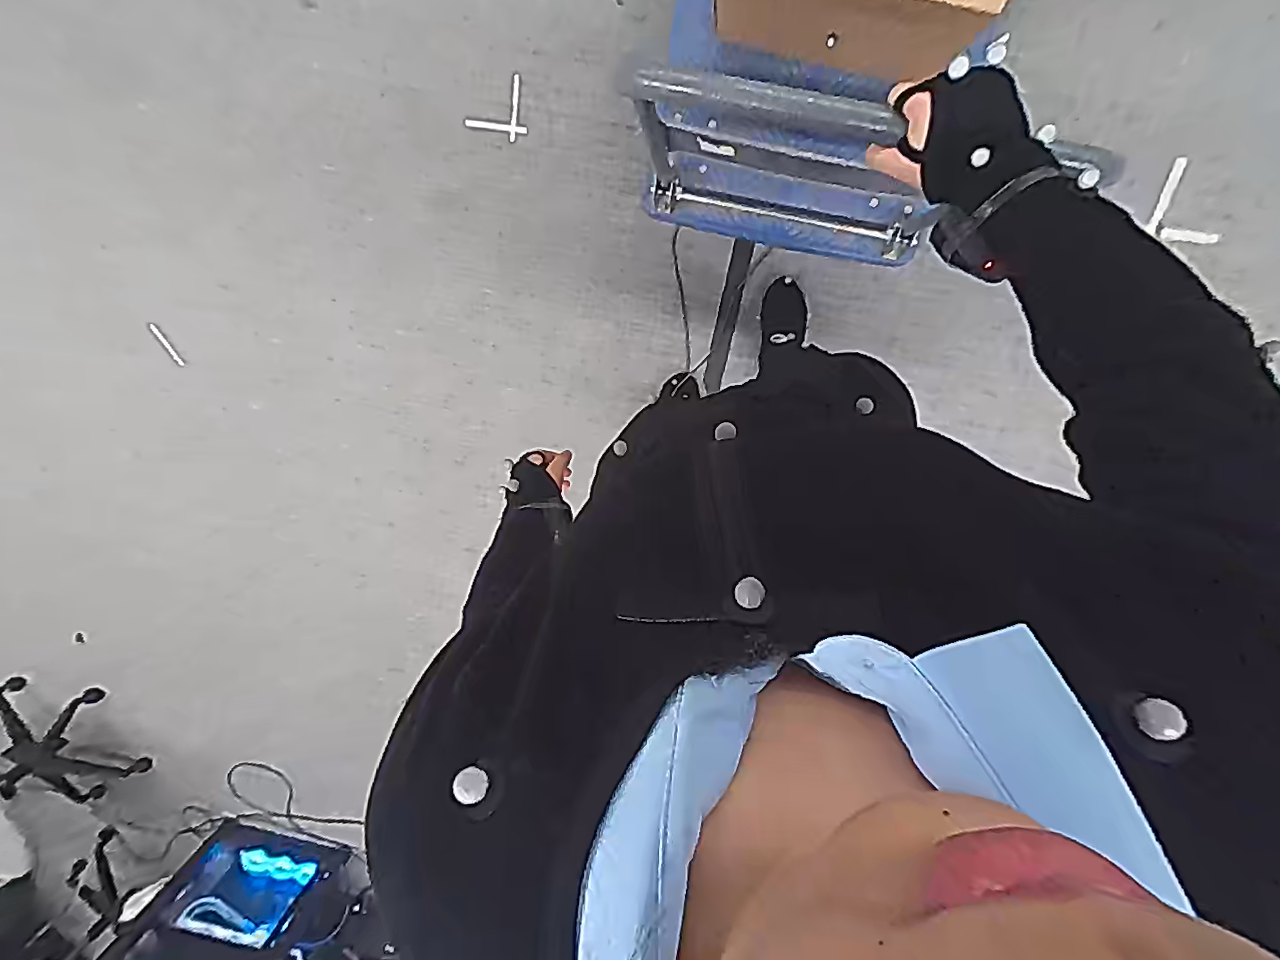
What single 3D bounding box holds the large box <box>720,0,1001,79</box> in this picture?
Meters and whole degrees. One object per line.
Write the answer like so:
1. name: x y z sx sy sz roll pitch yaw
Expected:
1. large box: 0.358 -0.888 0.844 0.408 0.320 0.320 15 110 3
